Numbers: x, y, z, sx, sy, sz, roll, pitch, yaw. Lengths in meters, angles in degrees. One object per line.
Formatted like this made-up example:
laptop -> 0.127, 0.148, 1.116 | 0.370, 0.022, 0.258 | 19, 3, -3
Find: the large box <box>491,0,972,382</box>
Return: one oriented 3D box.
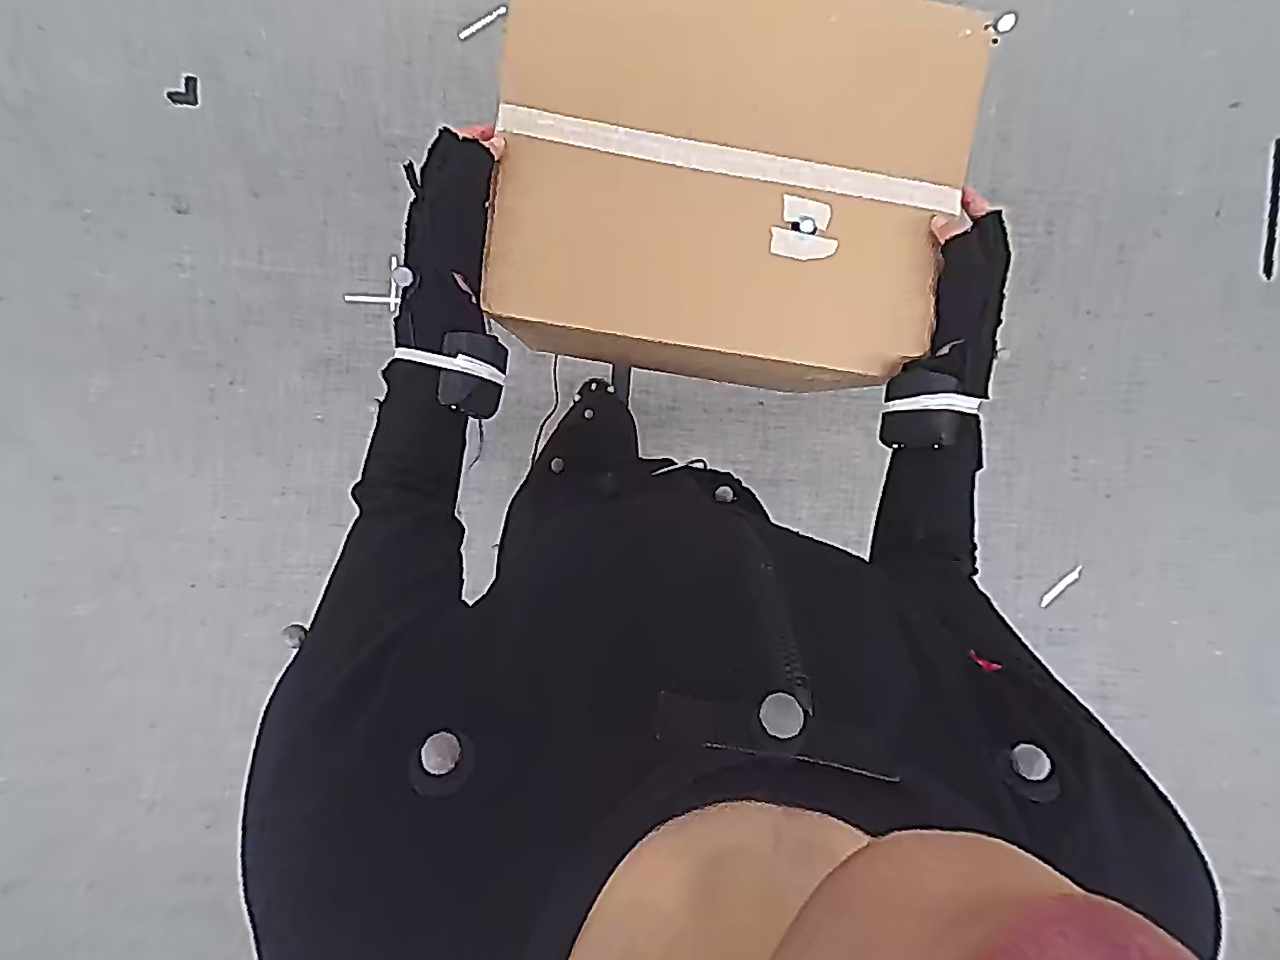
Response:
large box -> 0.069, -0.300, 0.627 | 0.408, 0.320, 0.320 | 8, 98, -5
